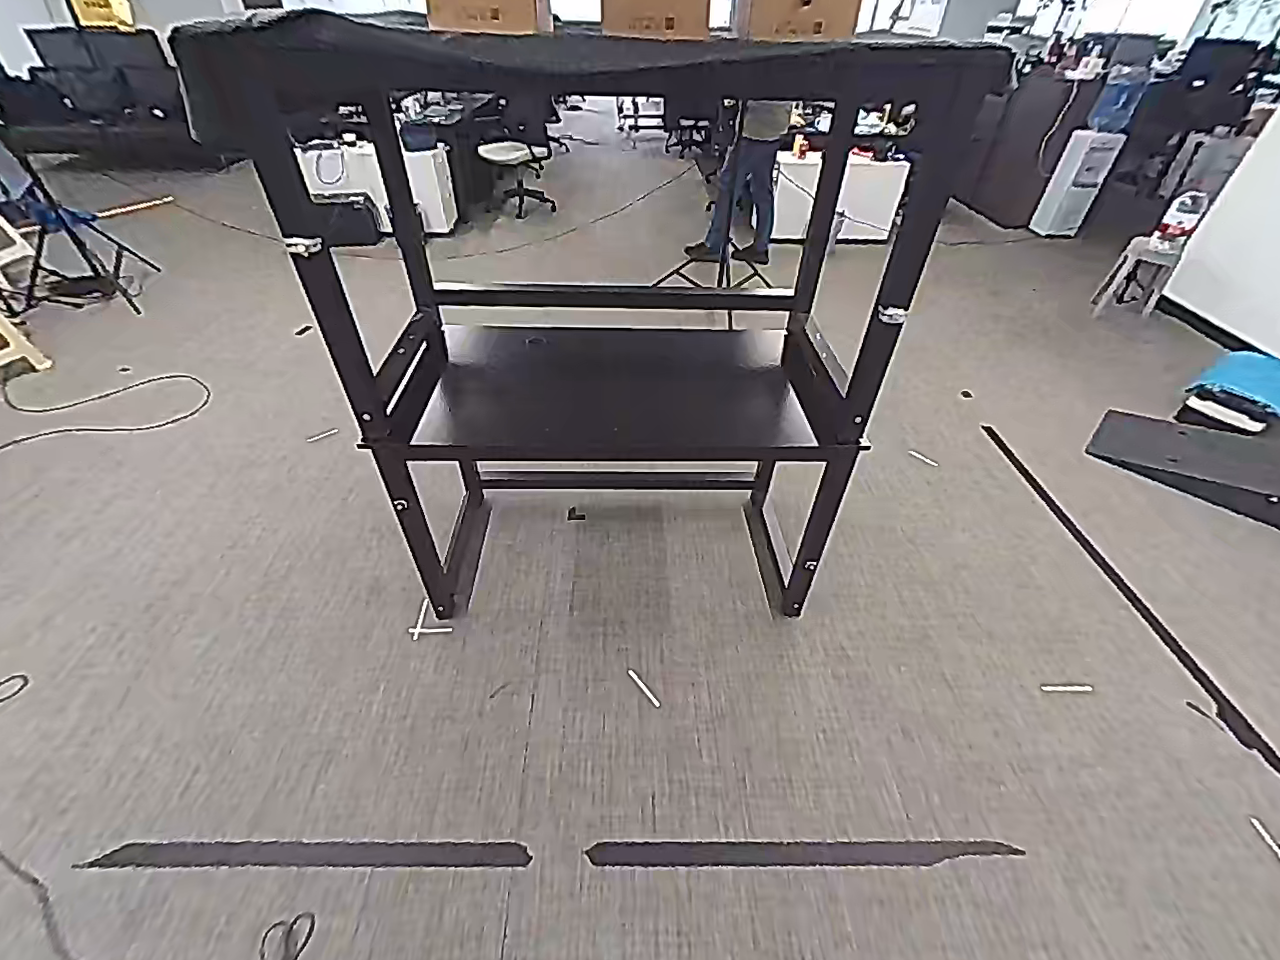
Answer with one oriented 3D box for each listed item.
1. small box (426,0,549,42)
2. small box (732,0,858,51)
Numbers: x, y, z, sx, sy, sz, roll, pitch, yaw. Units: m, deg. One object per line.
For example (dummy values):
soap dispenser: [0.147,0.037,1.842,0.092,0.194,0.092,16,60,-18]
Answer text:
small box: [-0.239,-0.794,0.843,0.168,0.176,0.179,2,40,0]
small box: [0.242,-0.781,0.841,0.168,0.176,0.179,0,41,0]
